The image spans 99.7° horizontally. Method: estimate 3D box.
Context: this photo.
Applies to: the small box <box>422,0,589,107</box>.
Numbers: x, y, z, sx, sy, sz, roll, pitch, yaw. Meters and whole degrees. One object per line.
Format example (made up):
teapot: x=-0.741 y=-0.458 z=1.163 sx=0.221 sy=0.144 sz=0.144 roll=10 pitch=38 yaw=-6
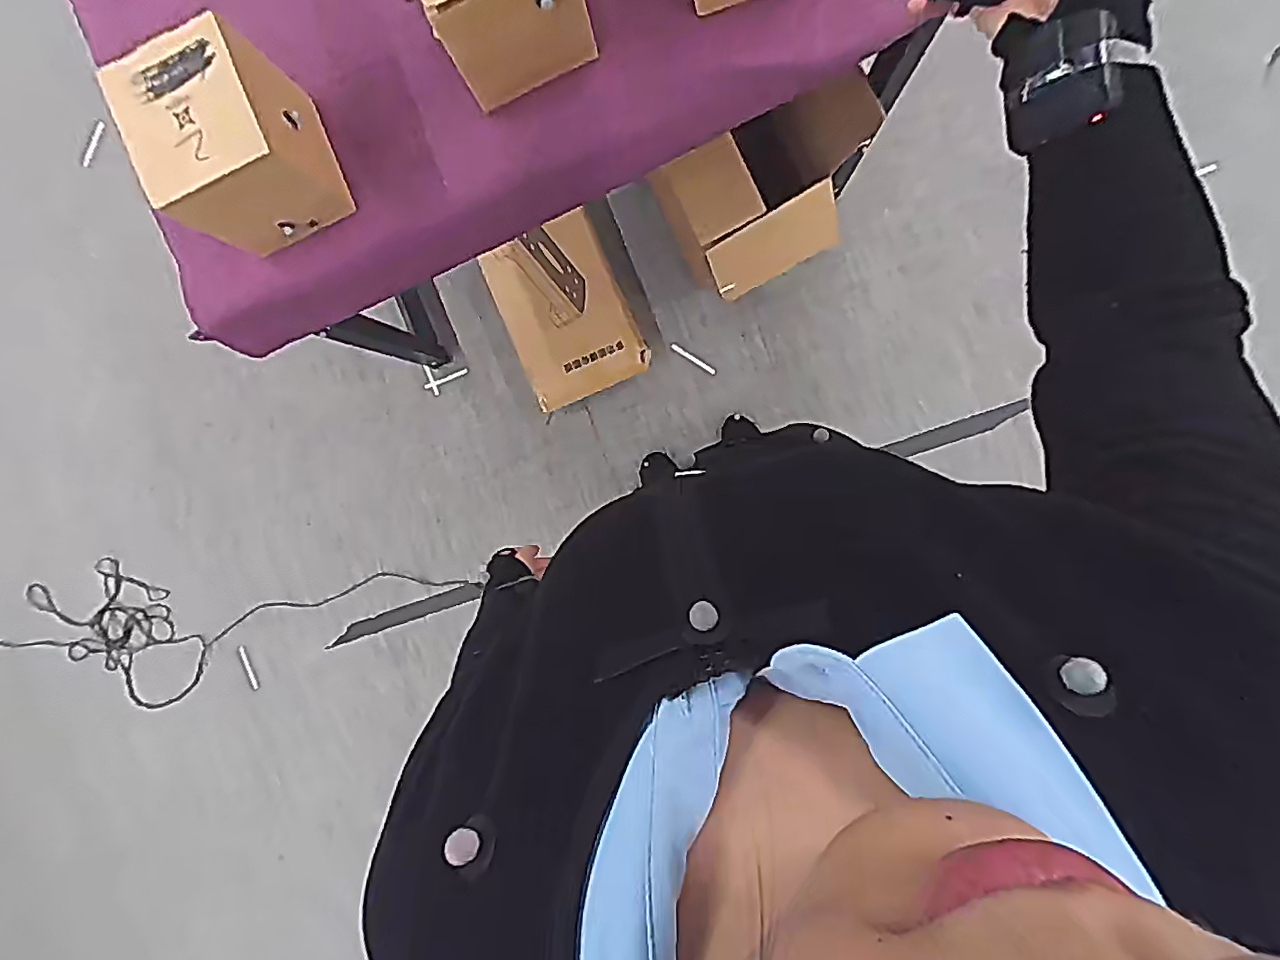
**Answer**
small box: x=-0.172 y=-0.611 z=0.656 sx=0.179 sy=0.176 sz=0.168 roll=-22 pitch=89 yaw=6
